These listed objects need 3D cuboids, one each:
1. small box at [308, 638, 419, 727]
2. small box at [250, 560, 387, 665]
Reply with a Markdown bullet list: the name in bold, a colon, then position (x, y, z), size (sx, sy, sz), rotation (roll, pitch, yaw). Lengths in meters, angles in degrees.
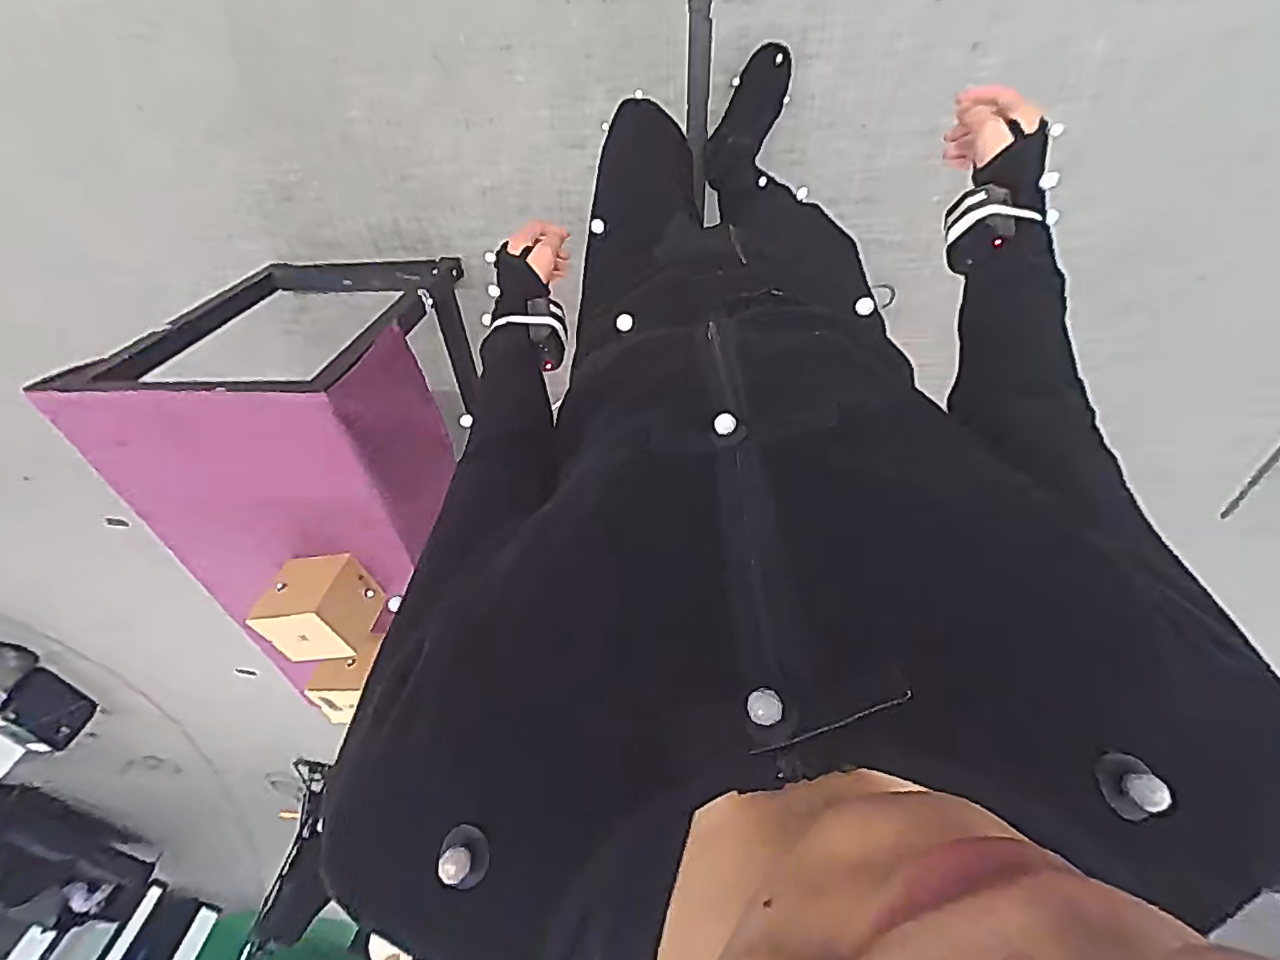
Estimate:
- **small box**: position (-0.726, 0.536, 1.441), size (0.179, 0.176, 0.168), rotation (-3, 130, 8)
- **small box**: position (-0.725, 0.303, 1.242), size (0.179, 0.176, 0.168), rotation (-7, 130, 13)
